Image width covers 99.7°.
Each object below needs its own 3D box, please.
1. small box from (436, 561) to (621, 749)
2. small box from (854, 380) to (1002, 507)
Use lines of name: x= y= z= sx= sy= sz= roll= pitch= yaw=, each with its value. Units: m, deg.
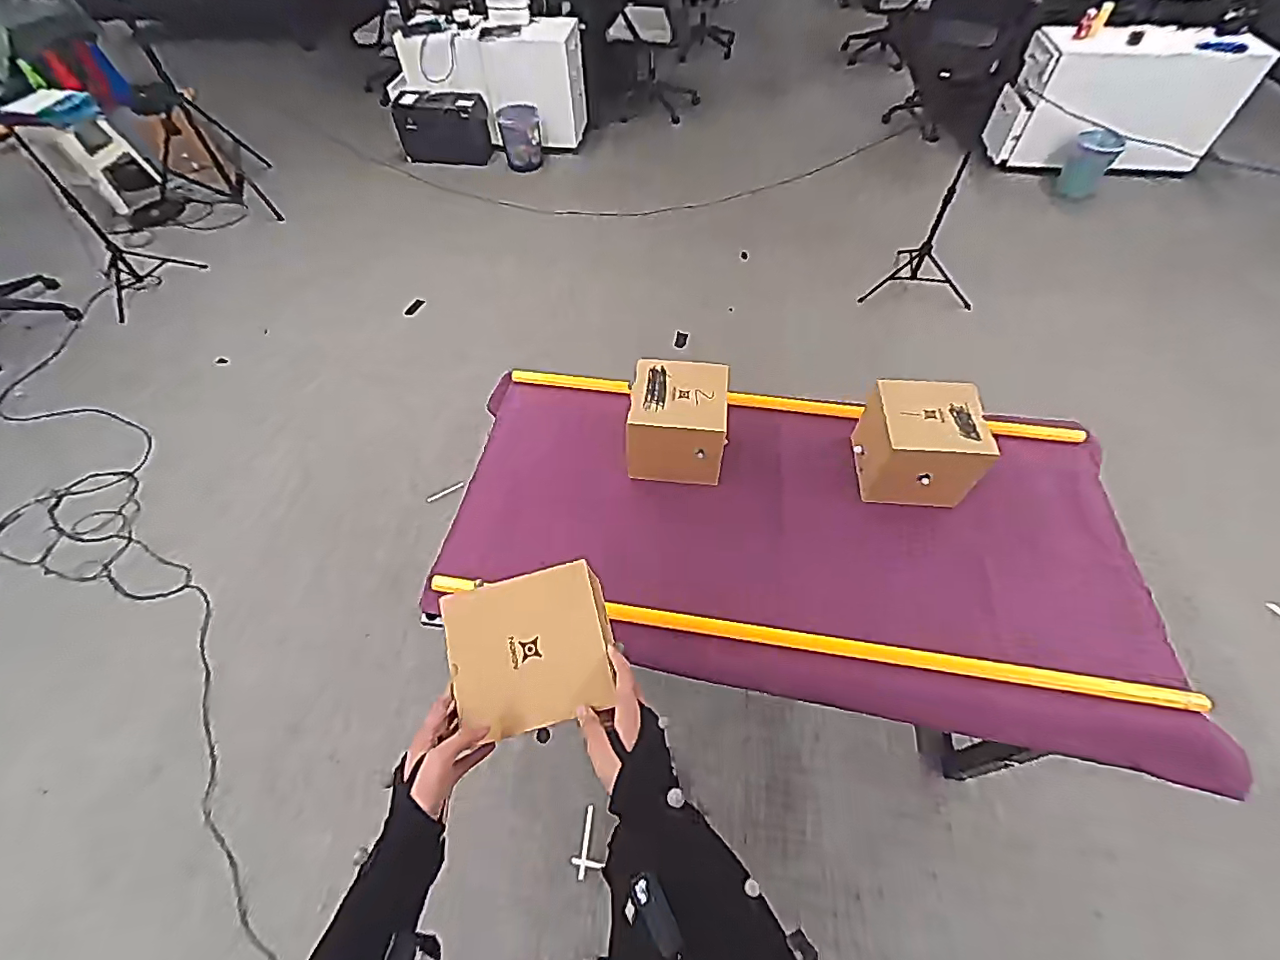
small box: x=-0.125 y=0.209 z=0.667 sx=0.179 sy=0.176 sz=0.168 roll=-15 pitch=72 yaw=-2
small box: x=0.513 y=-0.063 z=0.991 sx=0.179 sy=0.176 sz=0.168 roll=3 pitch=55 yaw=5
